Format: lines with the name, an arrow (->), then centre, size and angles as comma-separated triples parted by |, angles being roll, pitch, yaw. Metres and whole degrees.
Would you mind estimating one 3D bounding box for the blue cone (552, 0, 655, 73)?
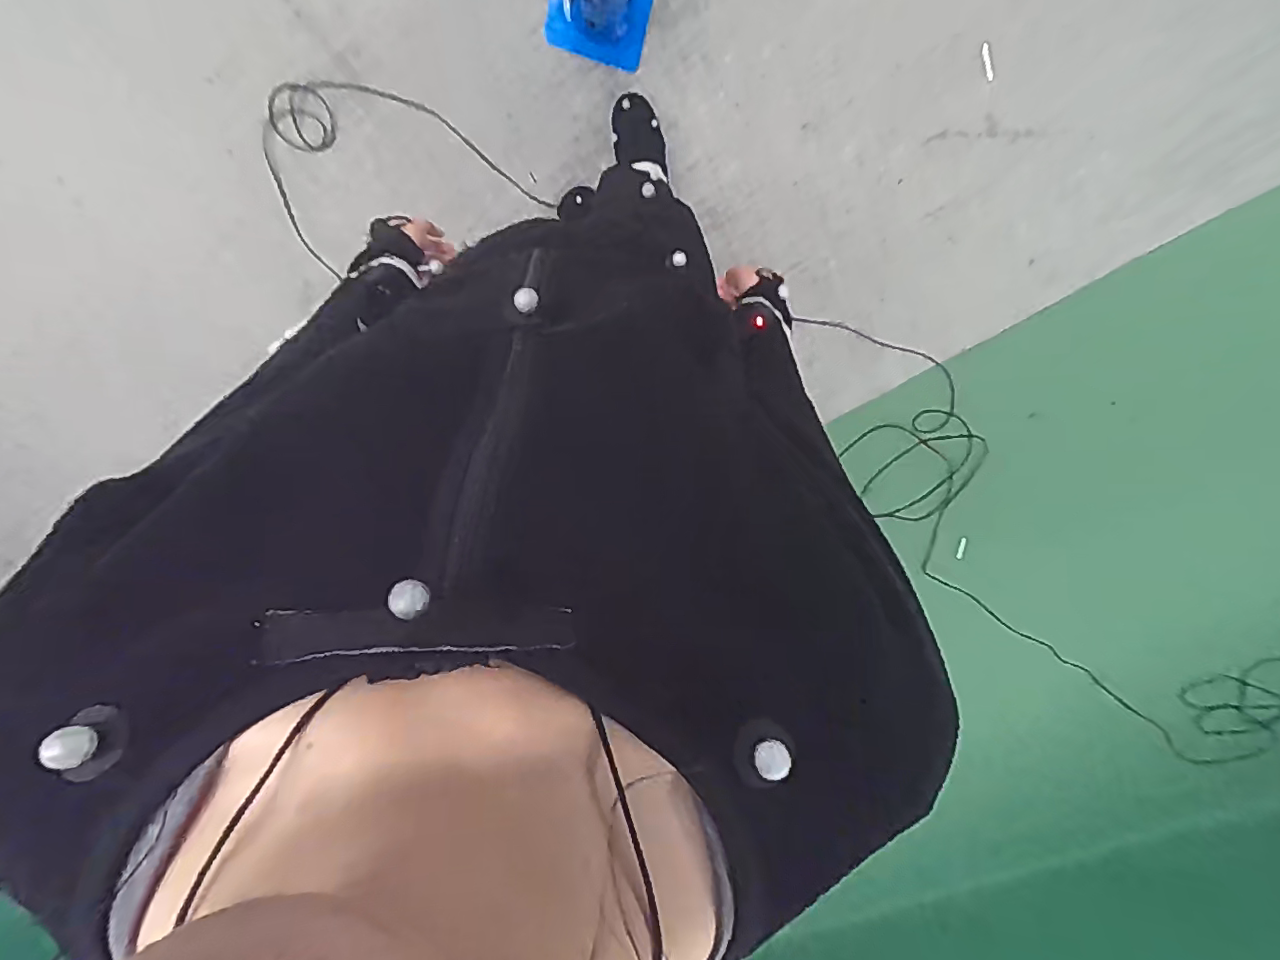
blue cone -> -0.069, -0.844, 0.909 | 0.192, 0.380, 0.193 | 12, 118, -7
